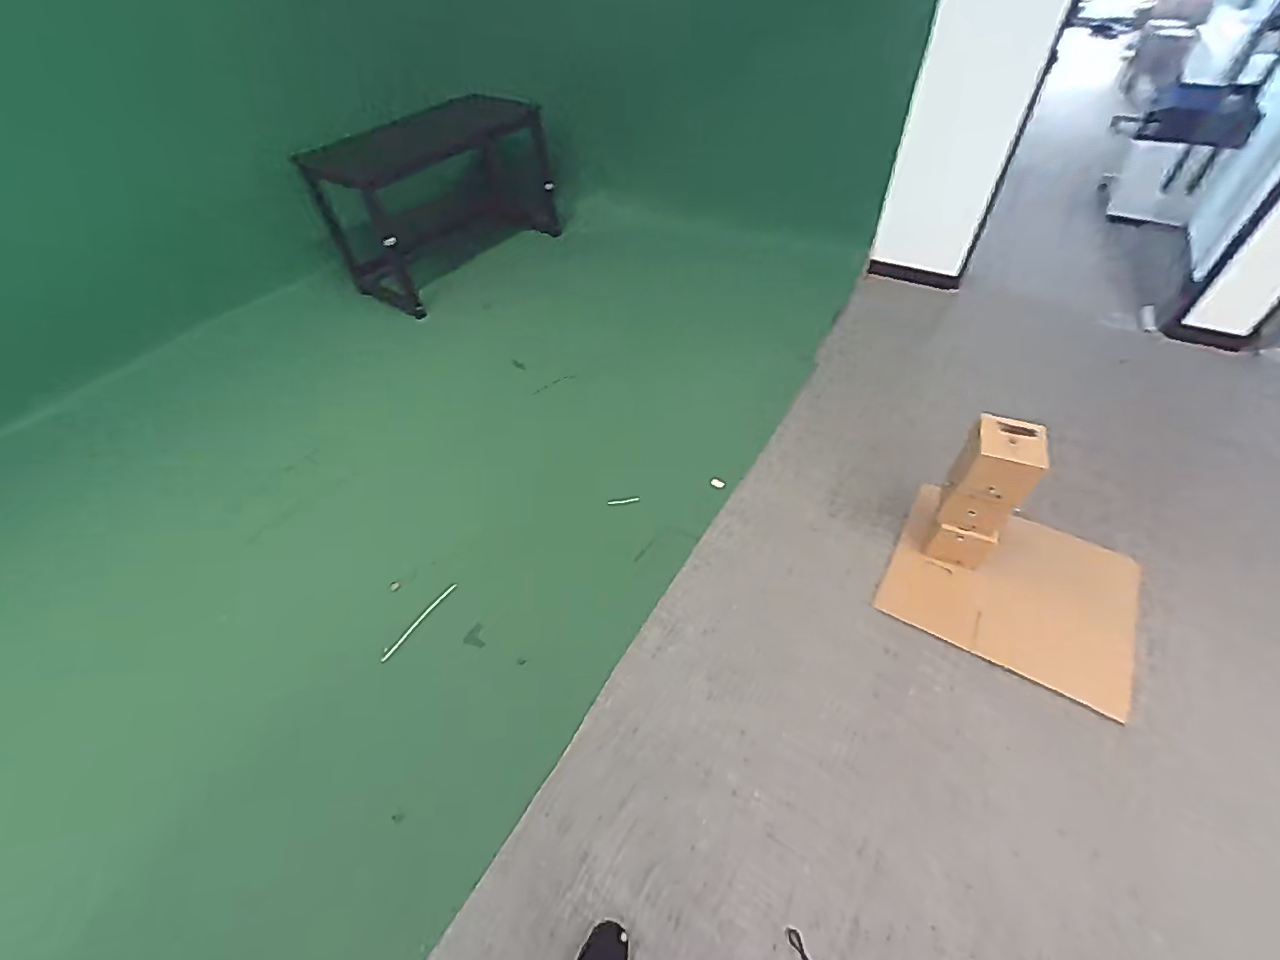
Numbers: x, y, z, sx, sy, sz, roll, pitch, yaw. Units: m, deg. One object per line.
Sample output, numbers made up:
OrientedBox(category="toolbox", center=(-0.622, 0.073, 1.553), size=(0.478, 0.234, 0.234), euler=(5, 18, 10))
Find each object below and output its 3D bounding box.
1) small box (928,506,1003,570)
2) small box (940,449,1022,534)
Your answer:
OrientedBox(category="small box", center=(1.075, 0.165, 1.791), size=(0.168, 0.176, 0.179), euler=(17, 52, 19))
OrientedBox(category="small box", center=(1.057, 0.040, 1.683), size=(0.168, 0.176, 0.179), euler=(19, 52, 18))
